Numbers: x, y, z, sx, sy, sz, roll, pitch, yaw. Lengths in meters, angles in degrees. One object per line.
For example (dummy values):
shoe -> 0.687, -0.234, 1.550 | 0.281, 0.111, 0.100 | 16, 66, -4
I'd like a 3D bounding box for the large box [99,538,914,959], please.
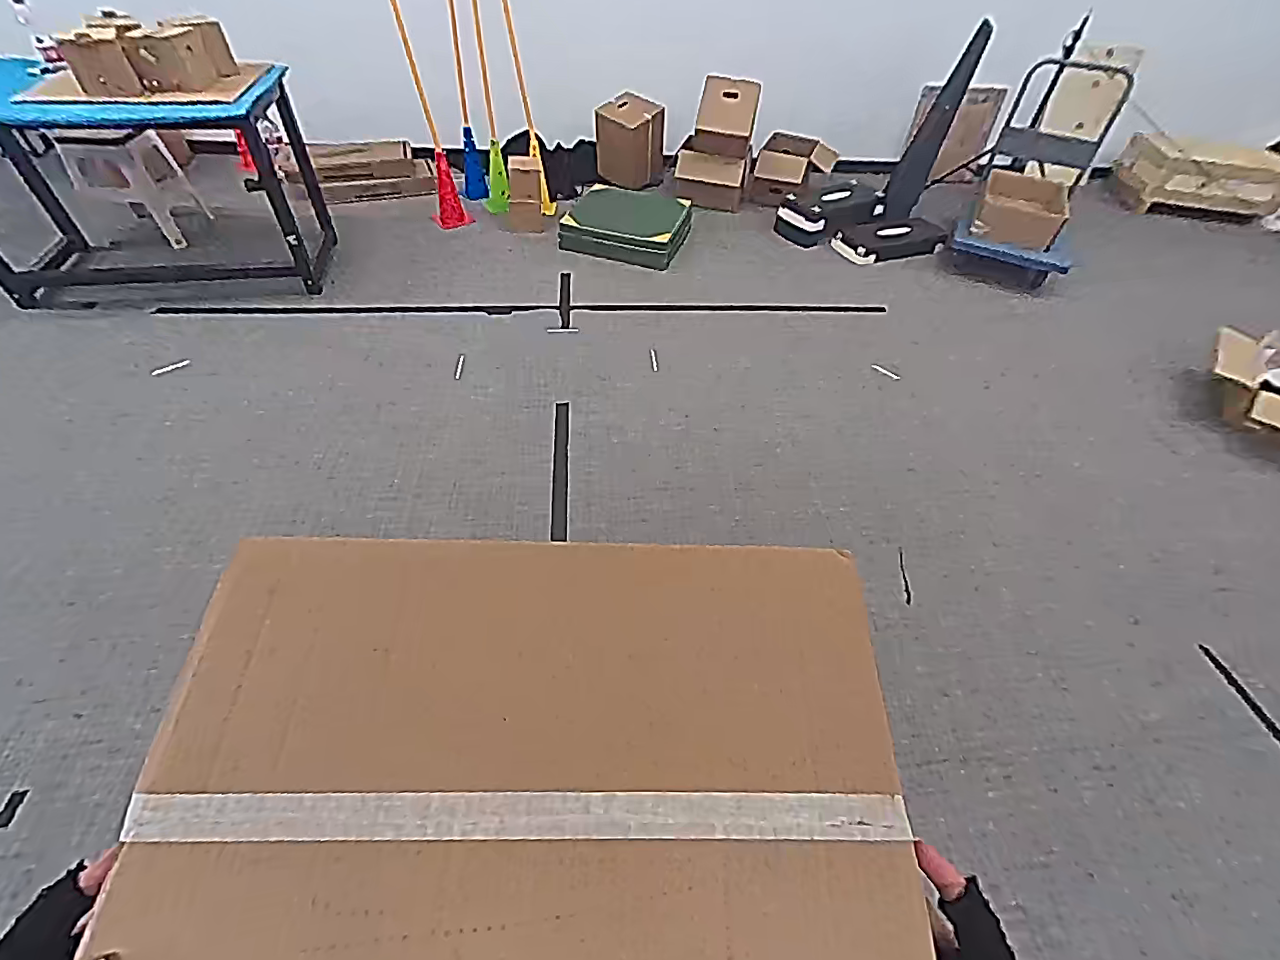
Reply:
large box -> -0.067, 0.249, 0.427 | 0.408, 0.320, 0.320 | 1, 61, -2
